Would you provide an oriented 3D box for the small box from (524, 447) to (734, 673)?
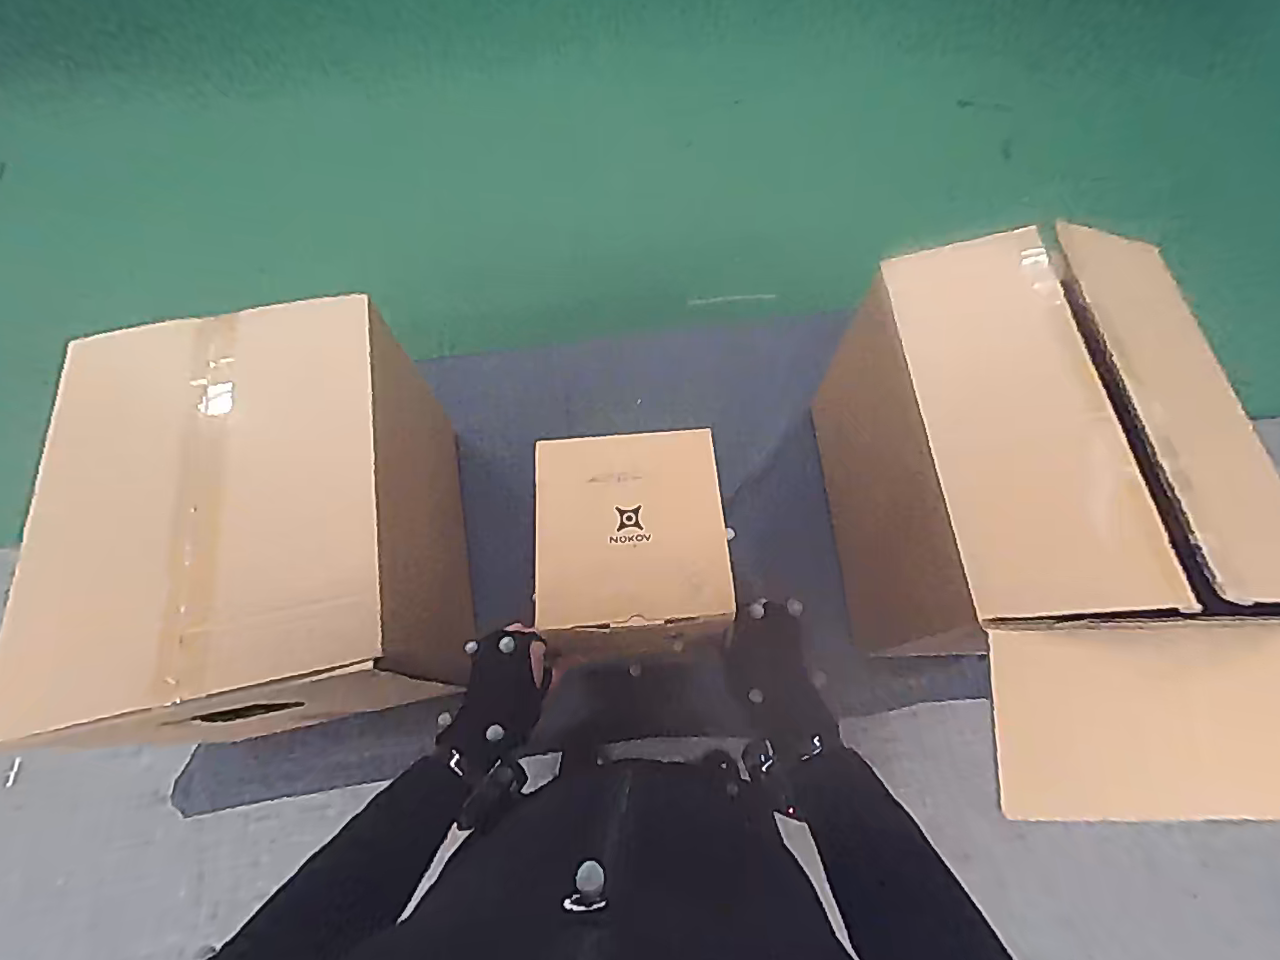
[{"bbox_3d":[-0.013,0.087,0.518,0.168,0.176,0.179,-5,66,-2],"label":"small box"}]
